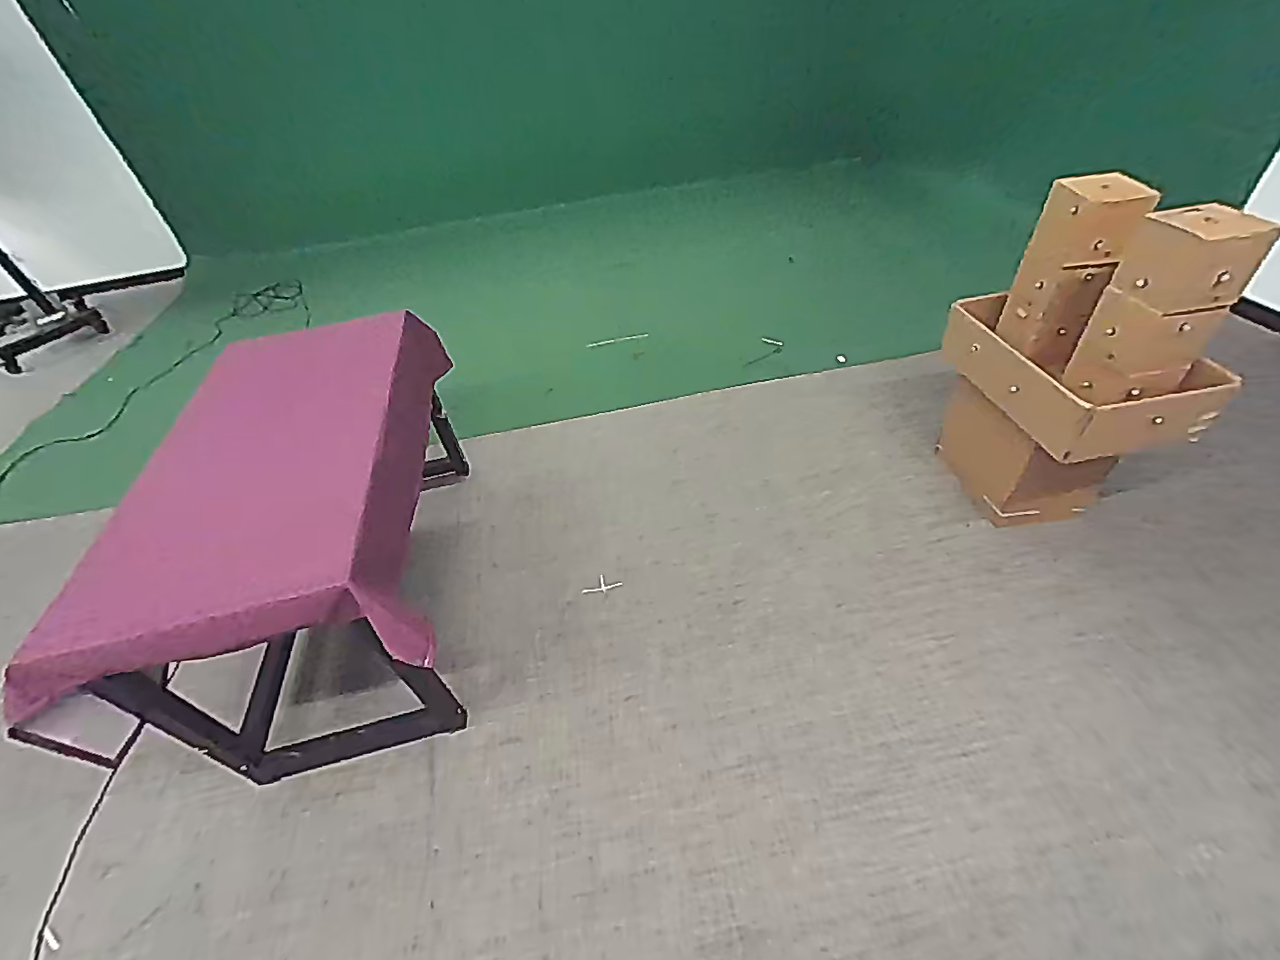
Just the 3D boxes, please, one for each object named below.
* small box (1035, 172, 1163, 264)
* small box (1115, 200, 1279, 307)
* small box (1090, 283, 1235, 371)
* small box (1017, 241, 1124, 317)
[{"bbox_3d":[1.202,-0.695,1.437,0.168,0.176,0.179,-4,46,5],"label":"small box"},{"bbox_3d":[1.248,-0.505,1.221,0.168,0.176,0.179,-9,43,0],"label":"small box"},{"bbox_3d":[1.267,-0.387,1.335,0.179,0.176,0.168,-10,43,0],"label":"small box"},{"bbox_3d":[1.225,-0.583,1.553,0.179,0.176,0.168,-6,44,2],"label":"small box"}]
